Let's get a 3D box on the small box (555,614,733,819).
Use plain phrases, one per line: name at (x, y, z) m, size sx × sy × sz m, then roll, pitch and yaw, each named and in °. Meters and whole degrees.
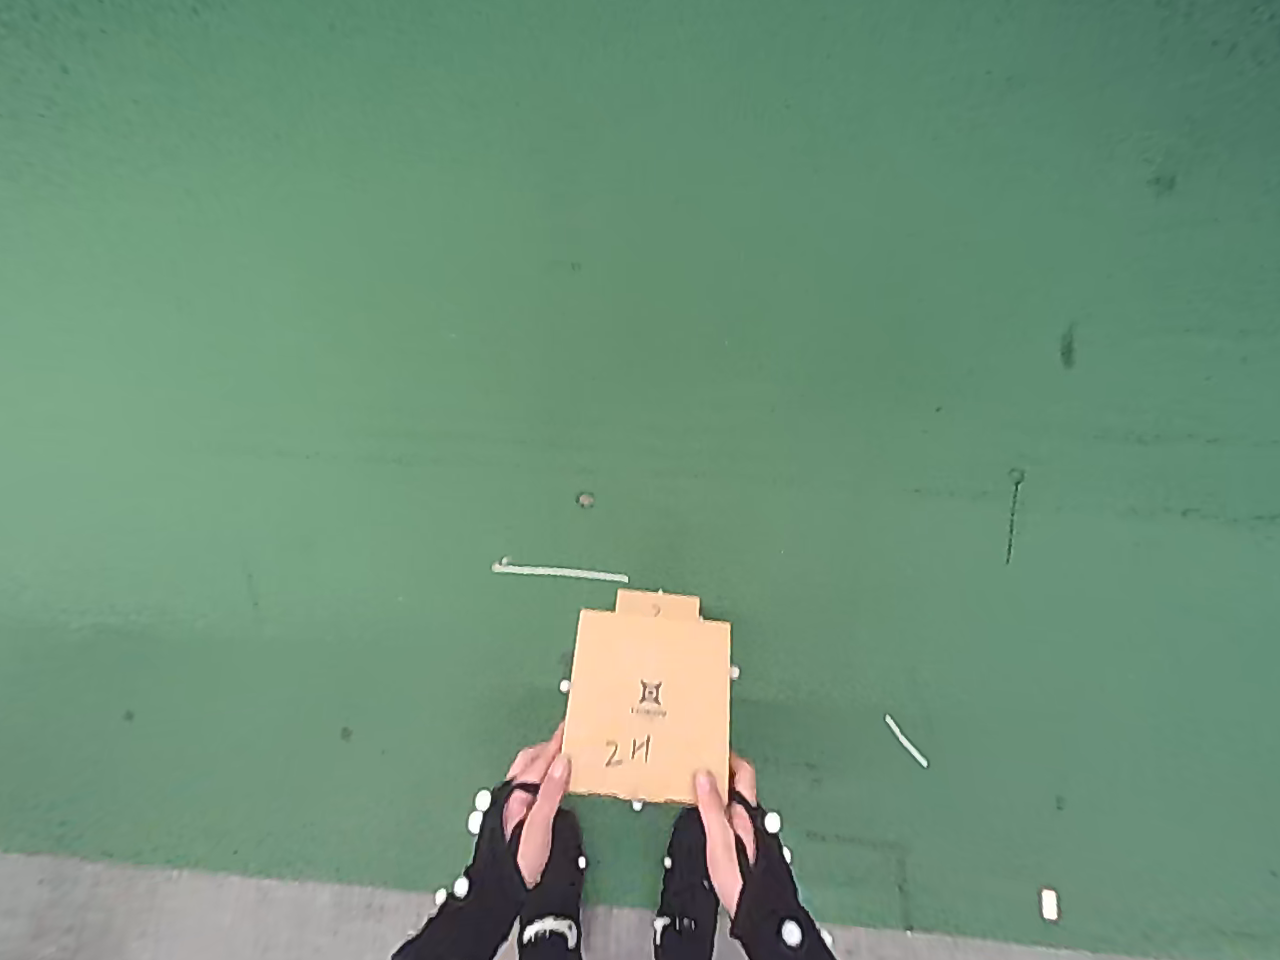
small box at (0.008, 0.262, 0.607) m, size 0.168 × 0.176 × 0.179 m, roll 5°, pitch 64°, yaw 2°
